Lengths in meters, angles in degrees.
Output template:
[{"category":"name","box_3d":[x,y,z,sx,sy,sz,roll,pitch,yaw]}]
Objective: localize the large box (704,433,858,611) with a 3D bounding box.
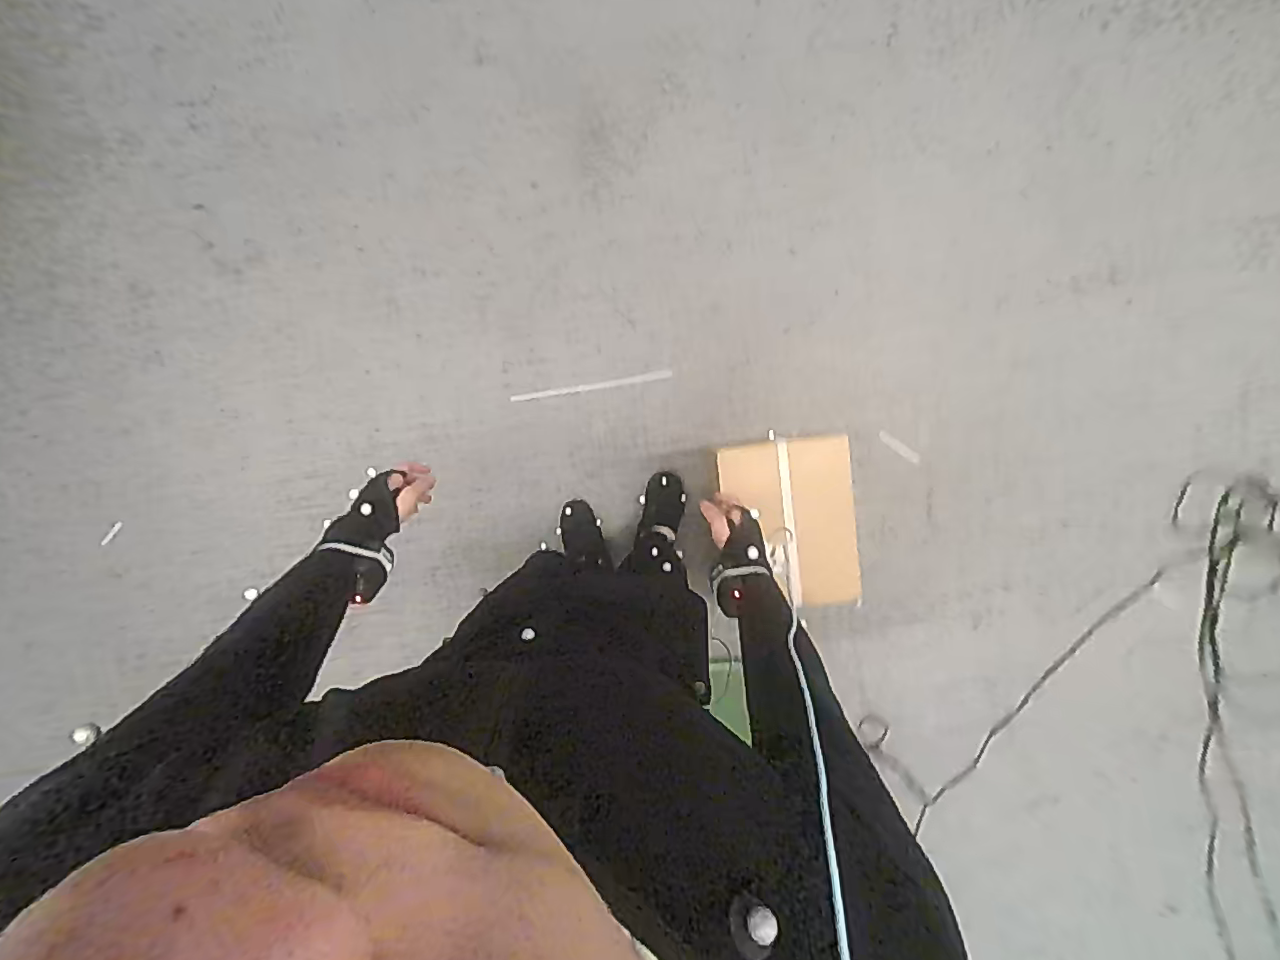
[{"category":"large box","box_3d":[0.358,0.093,1.448,0.320,0.320,0.408,-6,95,3]}]
